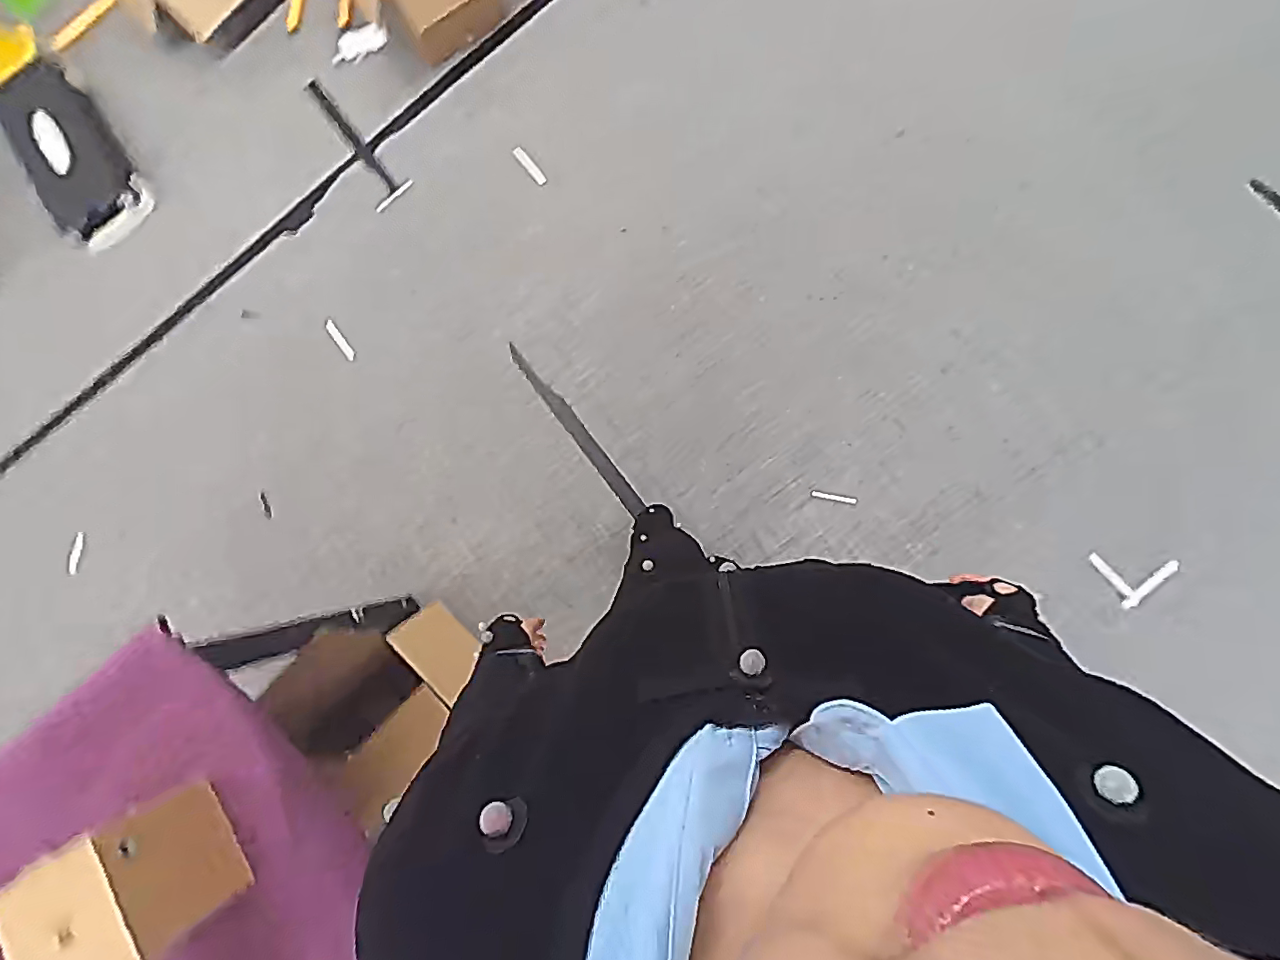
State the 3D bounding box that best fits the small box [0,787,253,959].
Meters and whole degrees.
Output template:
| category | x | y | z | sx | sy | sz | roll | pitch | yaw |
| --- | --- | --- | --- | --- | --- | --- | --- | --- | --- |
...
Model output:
| category | x | y | z | sx | sy | sz | roll | pitch | yaw |
| --- | --- | --- | --- | --- | --- | --- | --- | --- | --- |
| small box | -0.682 | 0.567 | 0.733 | 0.168 | 0.176 | 0.179 | -34 | 81 | 2 |
